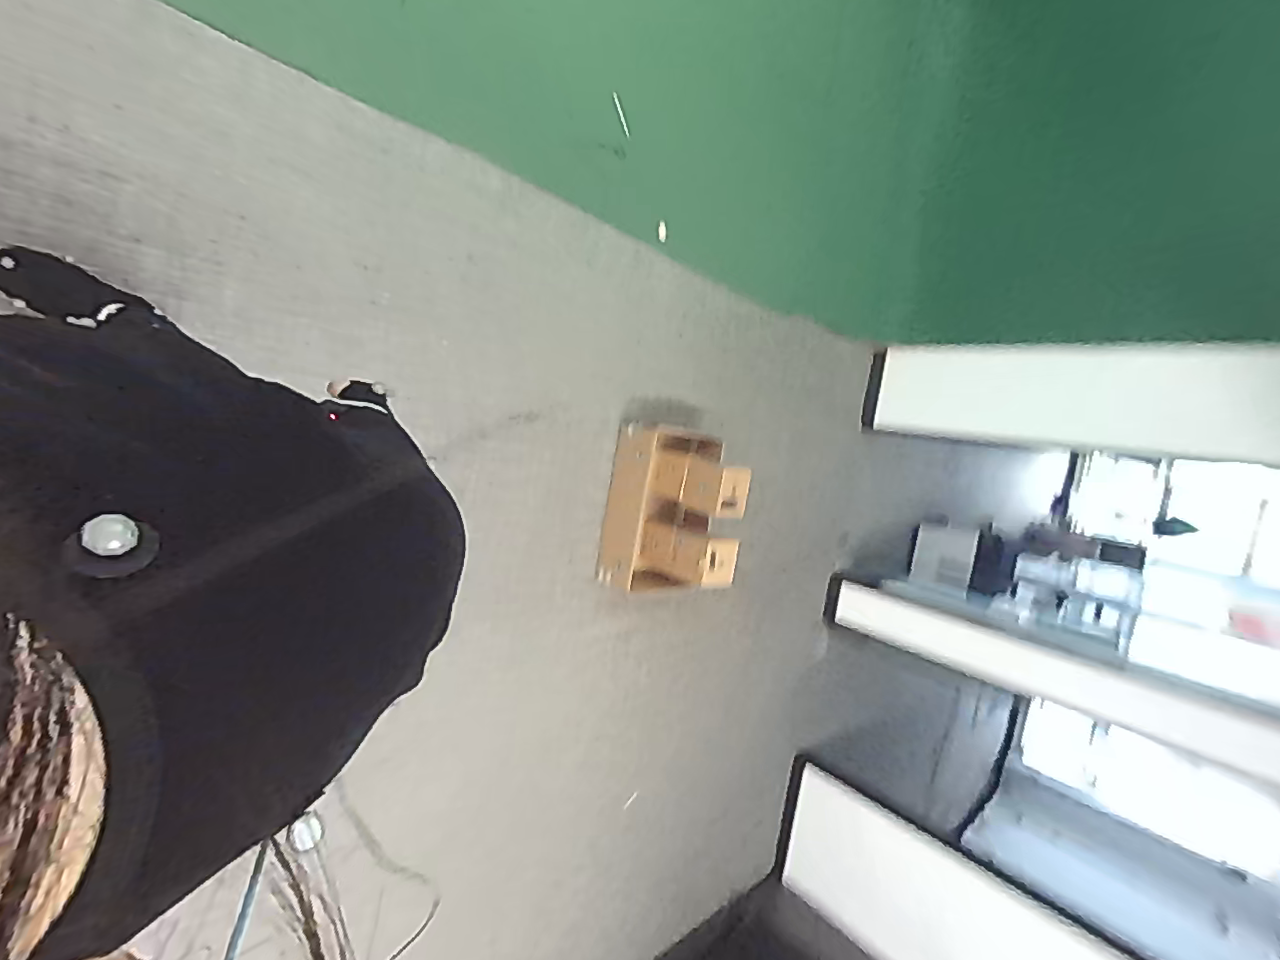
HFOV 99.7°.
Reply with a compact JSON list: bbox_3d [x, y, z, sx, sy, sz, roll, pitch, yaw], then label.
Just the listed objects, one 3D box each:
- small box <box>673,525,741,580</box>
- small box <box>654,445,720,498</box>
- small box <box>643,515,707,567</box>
[{"bbox_3d":[0.243,0.264,1.994,0.179,0.176,0.168,5,97,-43],"label":"small box"},{"bbox_3d":[0.177,-0.035,2.088,0.179,0.176,0.168,9,95,-44],"label":"small box"},{"bbox_3d":[0.133,0.235,2.113,0.179,0.176,0.168,4,98,-42],"label":"small box"}]
